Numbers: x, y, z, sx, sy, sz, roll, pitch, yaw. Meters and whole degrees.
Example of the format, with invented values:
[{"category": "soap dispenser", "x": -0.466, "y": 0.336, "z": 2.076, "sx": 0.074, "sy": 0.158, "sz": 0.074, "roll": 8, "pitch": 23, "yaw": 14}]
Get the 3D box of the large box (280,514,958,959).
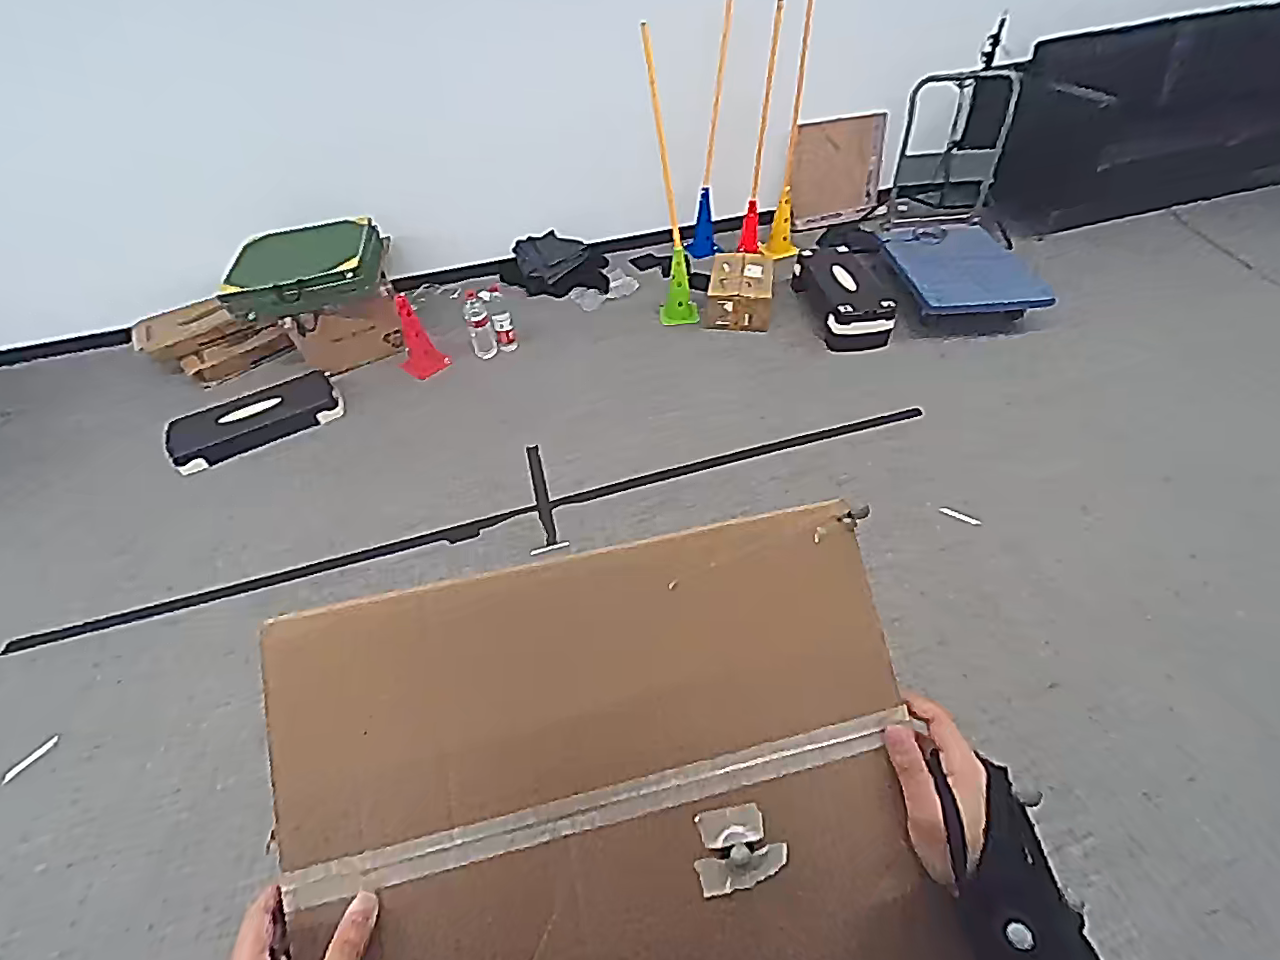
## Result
[{"category": "large box", "x": -0.028, "y": 0.242, "z": 0.501, "sx": 0.408, "sy": 0.320, "sz": 0.320, "roll": -11, "pitch": 81, "yaw": -8}]
